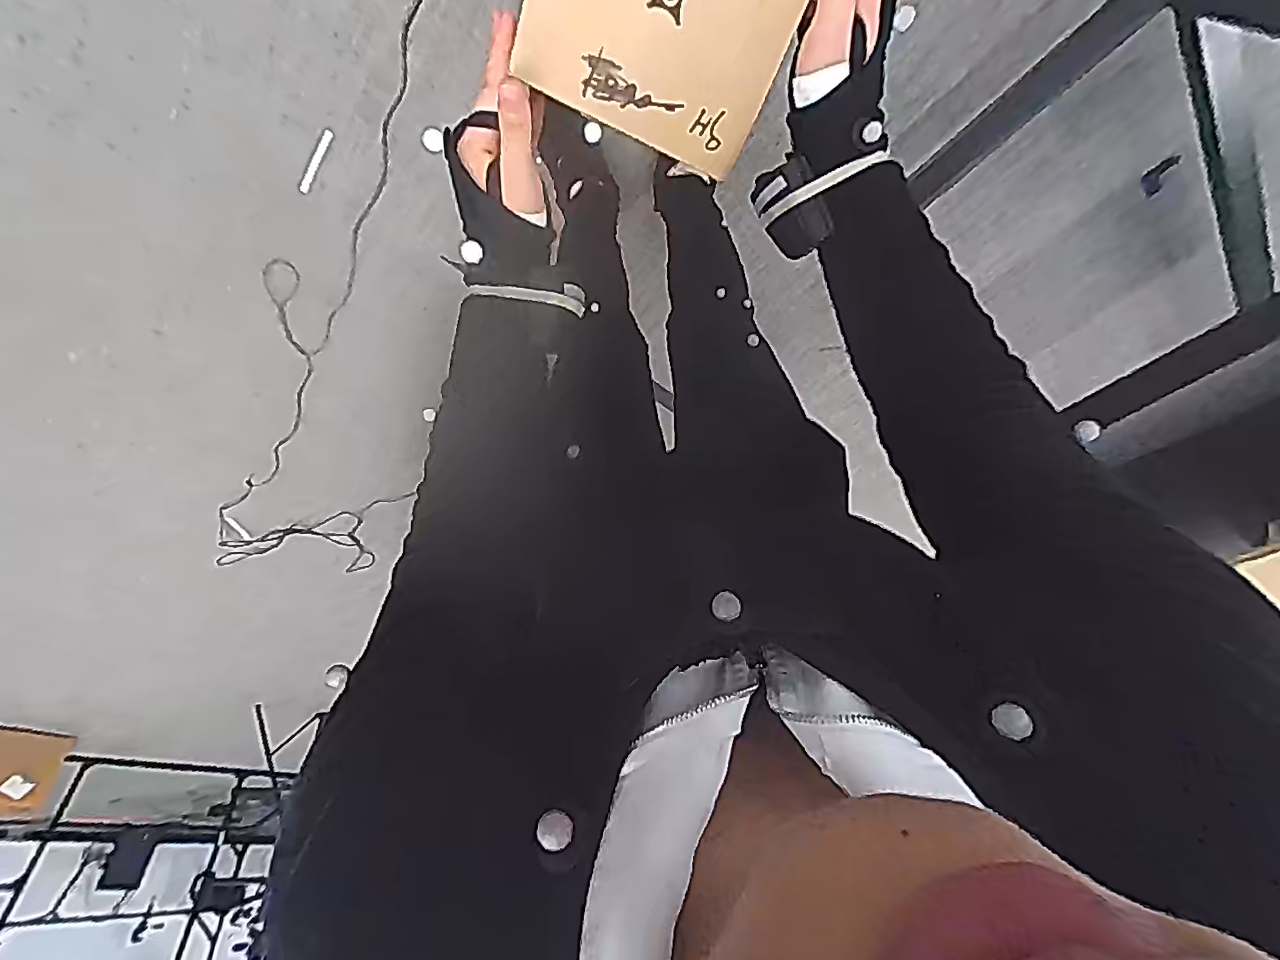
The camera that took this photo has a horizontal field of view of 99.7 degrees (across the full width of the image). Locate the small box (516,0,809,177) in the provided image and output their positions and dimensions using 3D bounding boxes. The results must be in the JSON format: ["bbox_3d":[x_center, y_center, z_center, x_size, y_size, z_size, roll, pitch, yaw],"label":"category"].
[{"bbox_3d":[0.014,-0.358,0.396,0.168,0.176,0.179,16,122,-19],"label":"small box"}]
